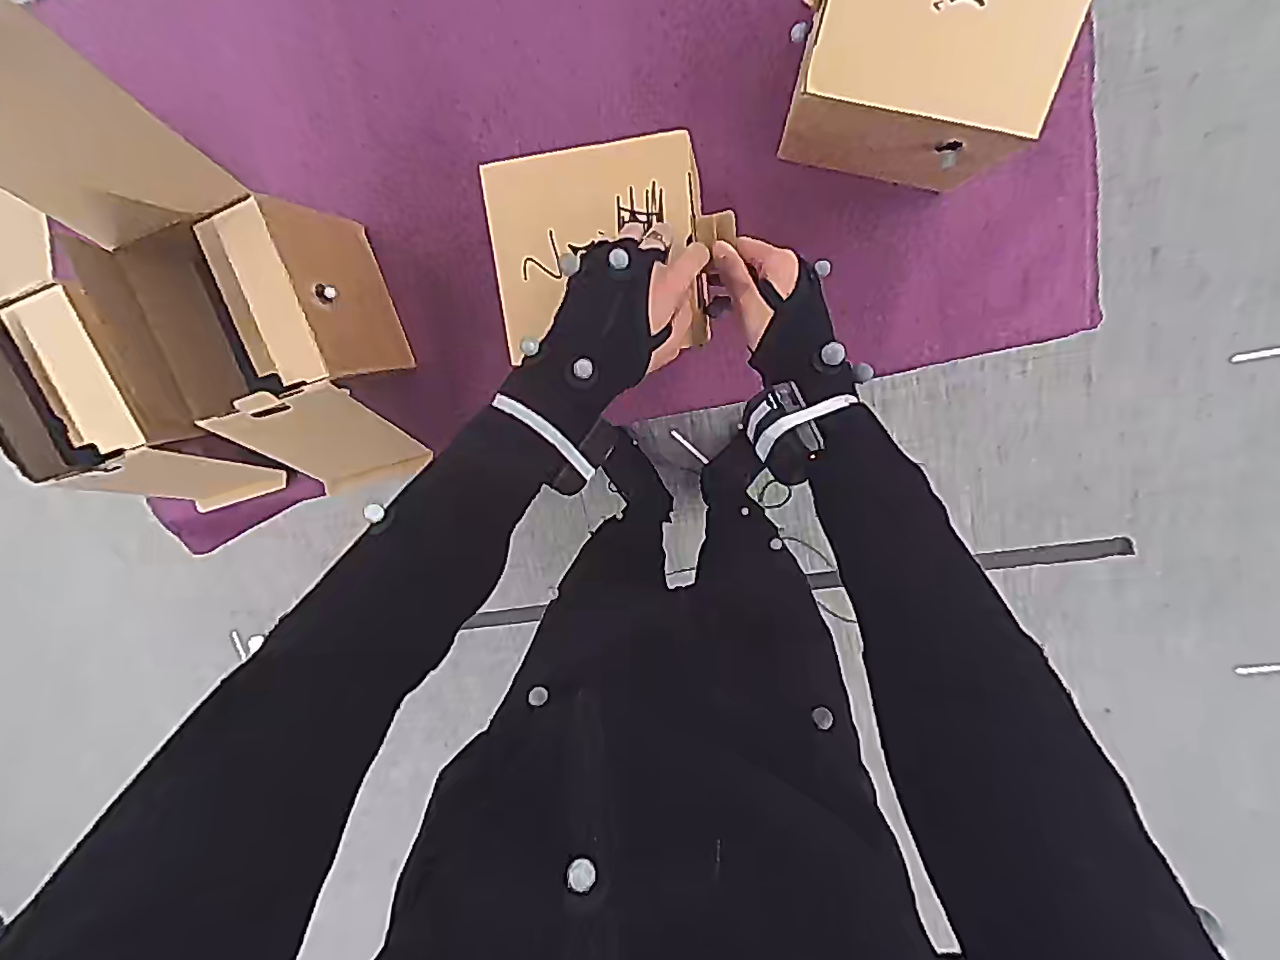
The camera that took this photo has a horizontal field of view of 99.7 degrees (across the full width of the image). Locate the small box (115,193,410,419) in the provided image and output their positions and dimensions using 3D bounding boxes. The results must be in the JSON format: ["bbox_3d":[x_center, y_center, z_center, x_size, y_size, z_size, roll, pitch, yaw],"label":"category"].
[{"bbox_3d":[-0.387,-0.181,0.591,0.168,0.176,0.179,-13,104,11],"label":"small box"}]

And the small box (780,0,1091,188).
[{"bbox_3d":[0.230,-0.360,0.447,0.179,0.176,0.168,15,107,4],"label":"small box"}]
